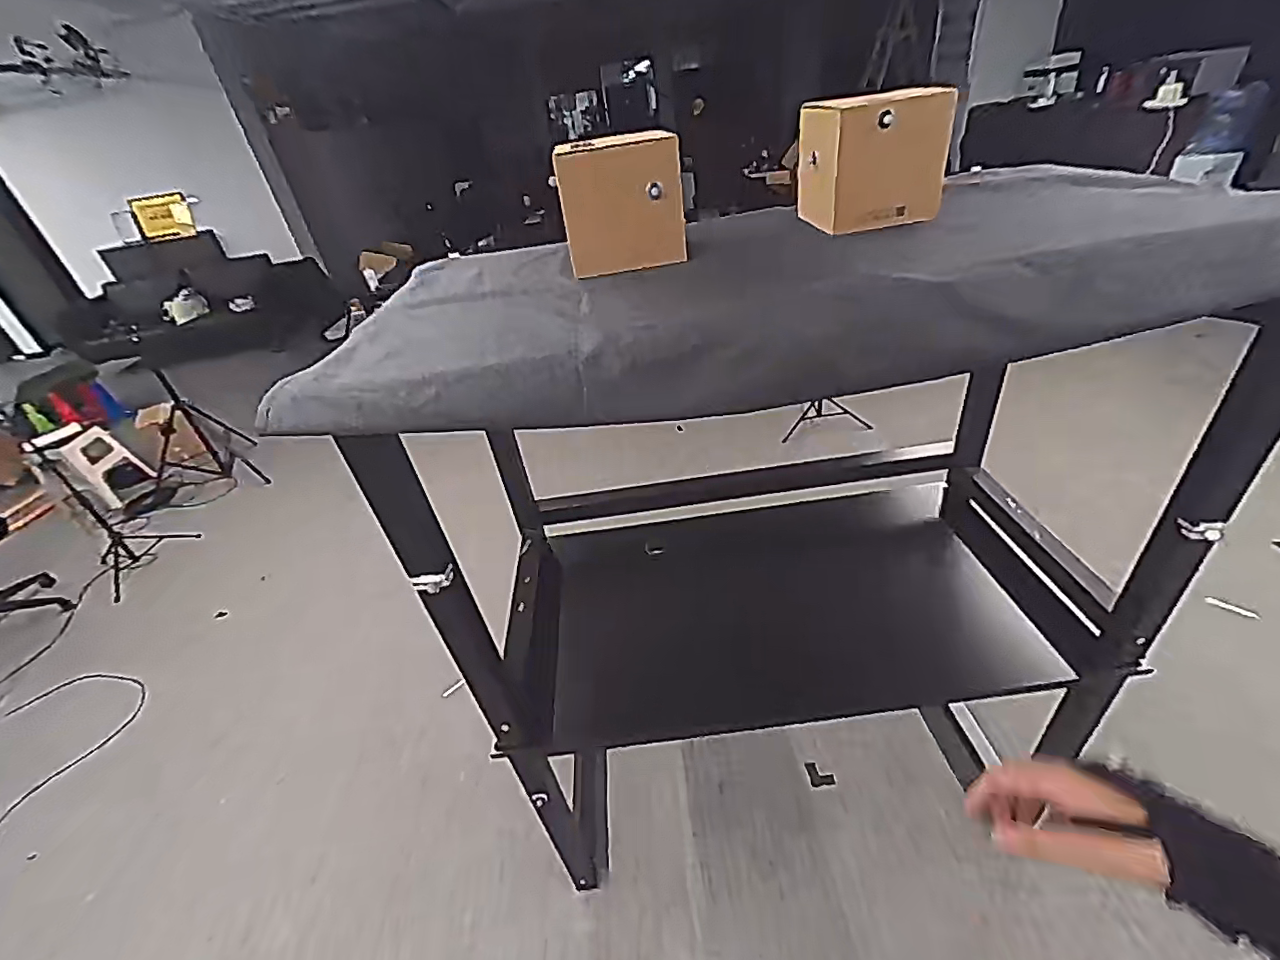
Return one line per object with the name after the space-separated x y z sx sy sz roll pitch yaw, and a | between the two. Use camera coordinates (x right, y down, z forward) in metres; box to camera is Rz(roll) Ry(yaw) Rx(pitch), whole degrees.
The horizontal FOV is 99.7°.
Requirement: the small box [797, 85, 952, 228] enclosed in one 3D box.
0.355 -0.508 0.858 0.168 0.176 0.179 -9 34 1 | small box
